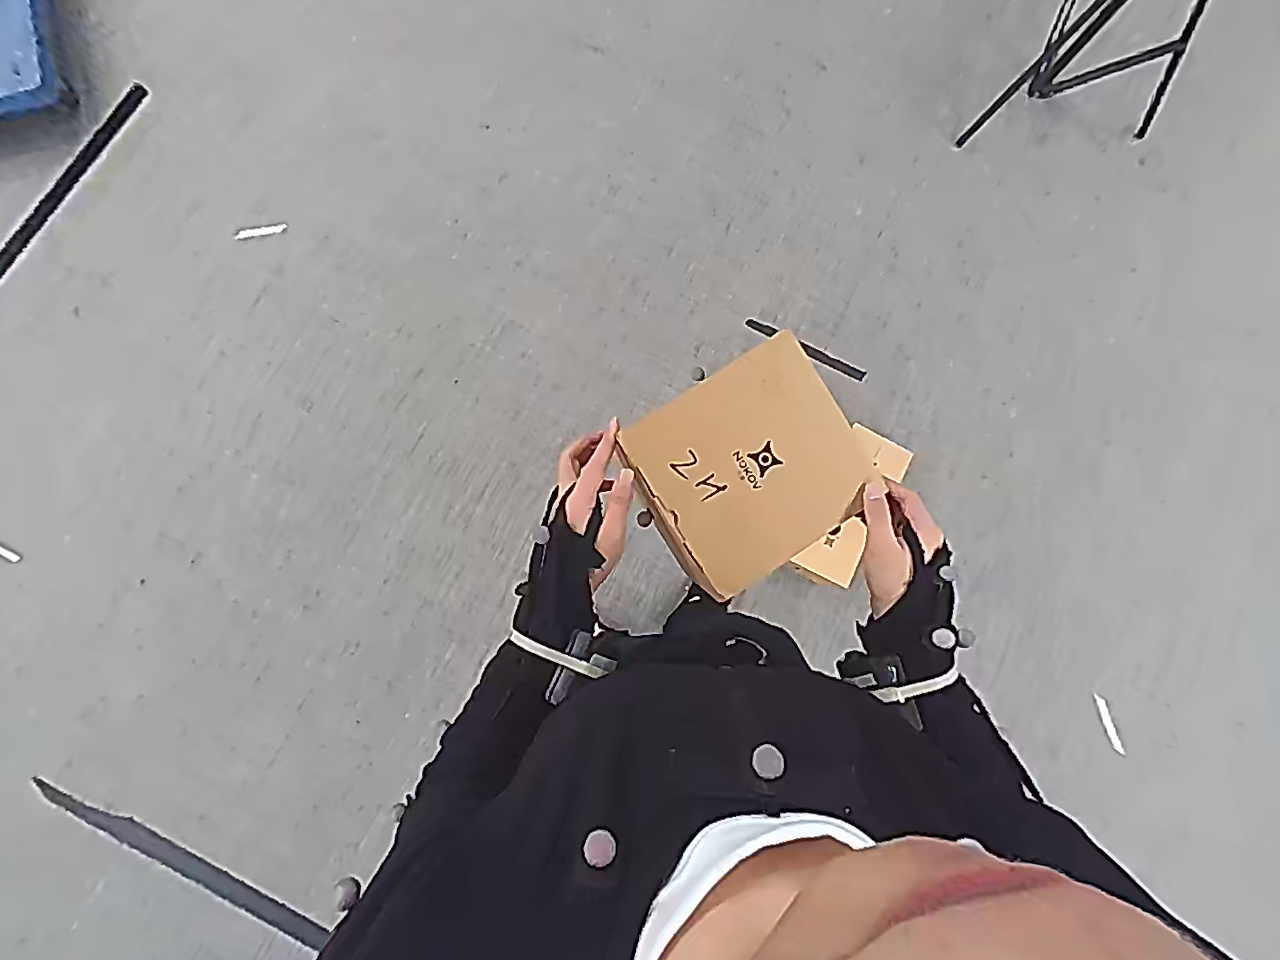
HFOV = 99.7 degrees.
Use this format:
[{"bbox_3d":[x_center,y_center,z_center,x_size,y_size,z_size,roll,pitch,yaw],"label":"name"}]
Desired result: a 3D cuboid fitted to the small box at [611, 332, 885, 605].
[{"bbox_3d":[0.084,-0.010,0.520,0.179,0.176,0.168,-32,92,-5],"label":"small box"}]
